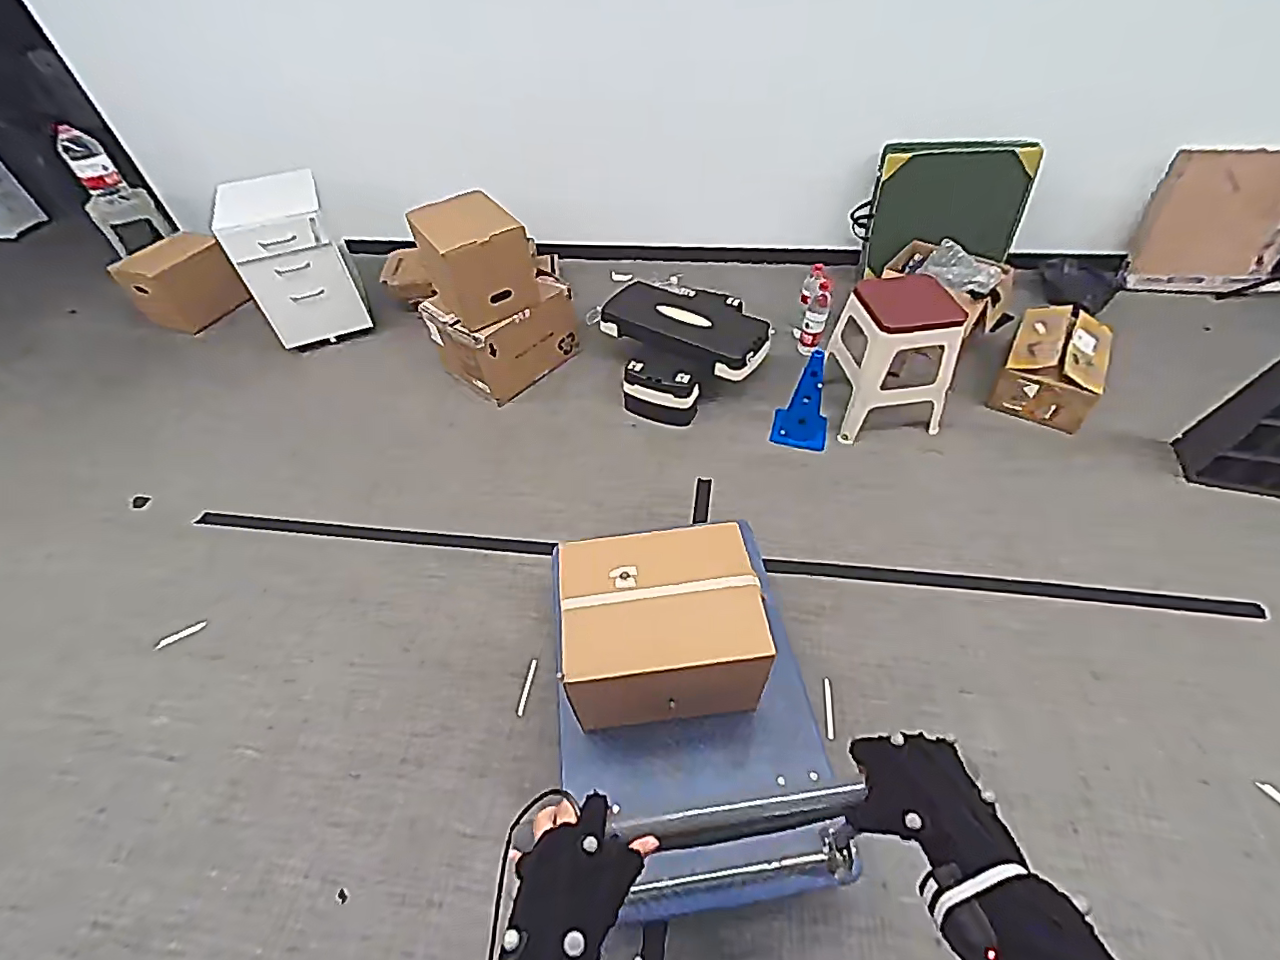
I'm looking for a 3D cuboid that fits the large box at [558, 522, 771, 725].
[{"bbox_3d":[0.045,0.331,1.224,0.408,0.320,0.320,-7,50,-2],"label":"large box"}]
